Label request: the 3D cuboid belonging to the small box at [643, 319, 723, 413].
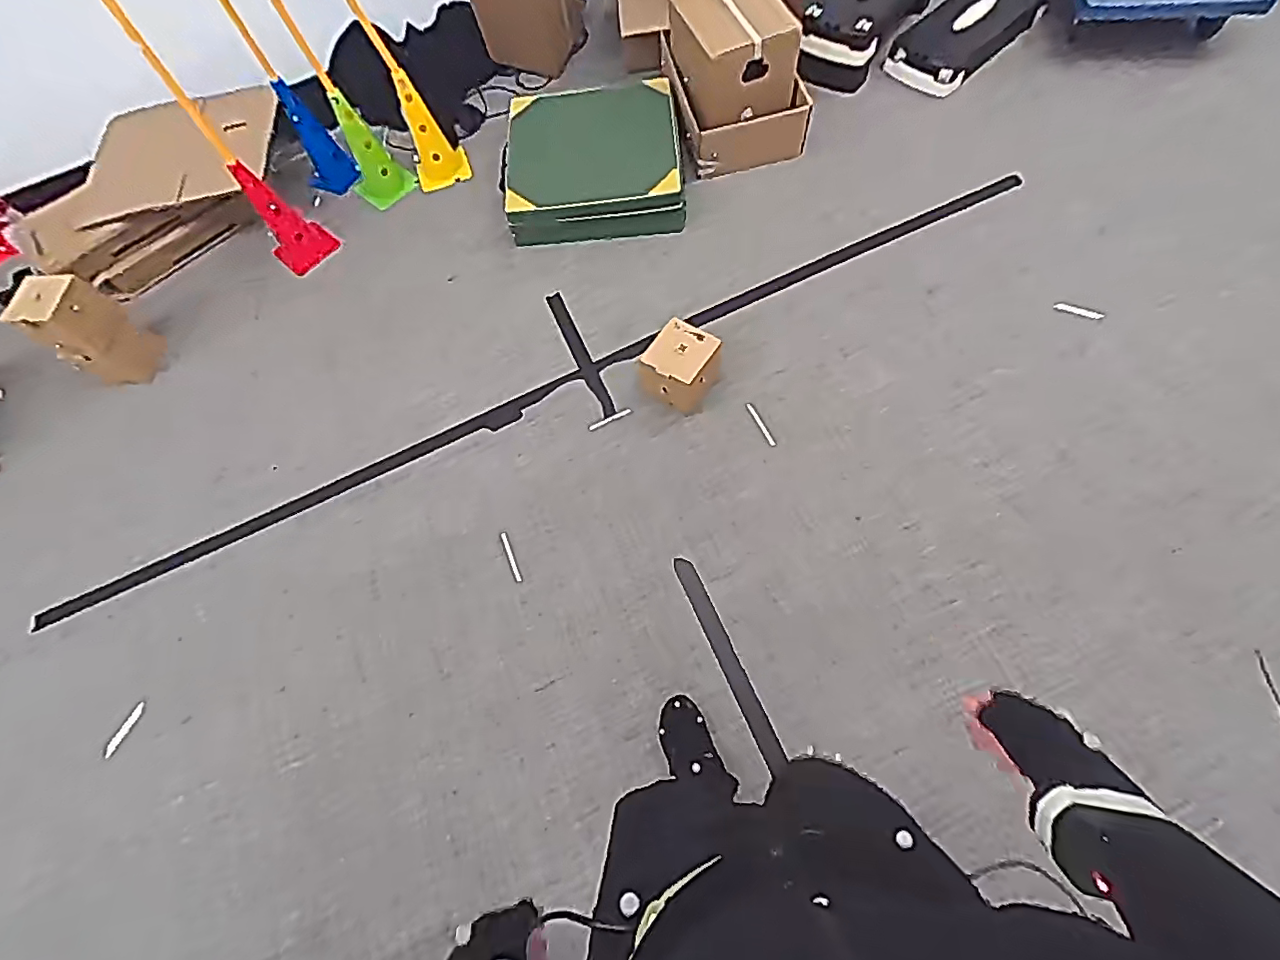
[{"bbox_3d":[0.131,-0.325,1.575,0.168,0.176,0.179,29,73,17],"label":"small box"}]
